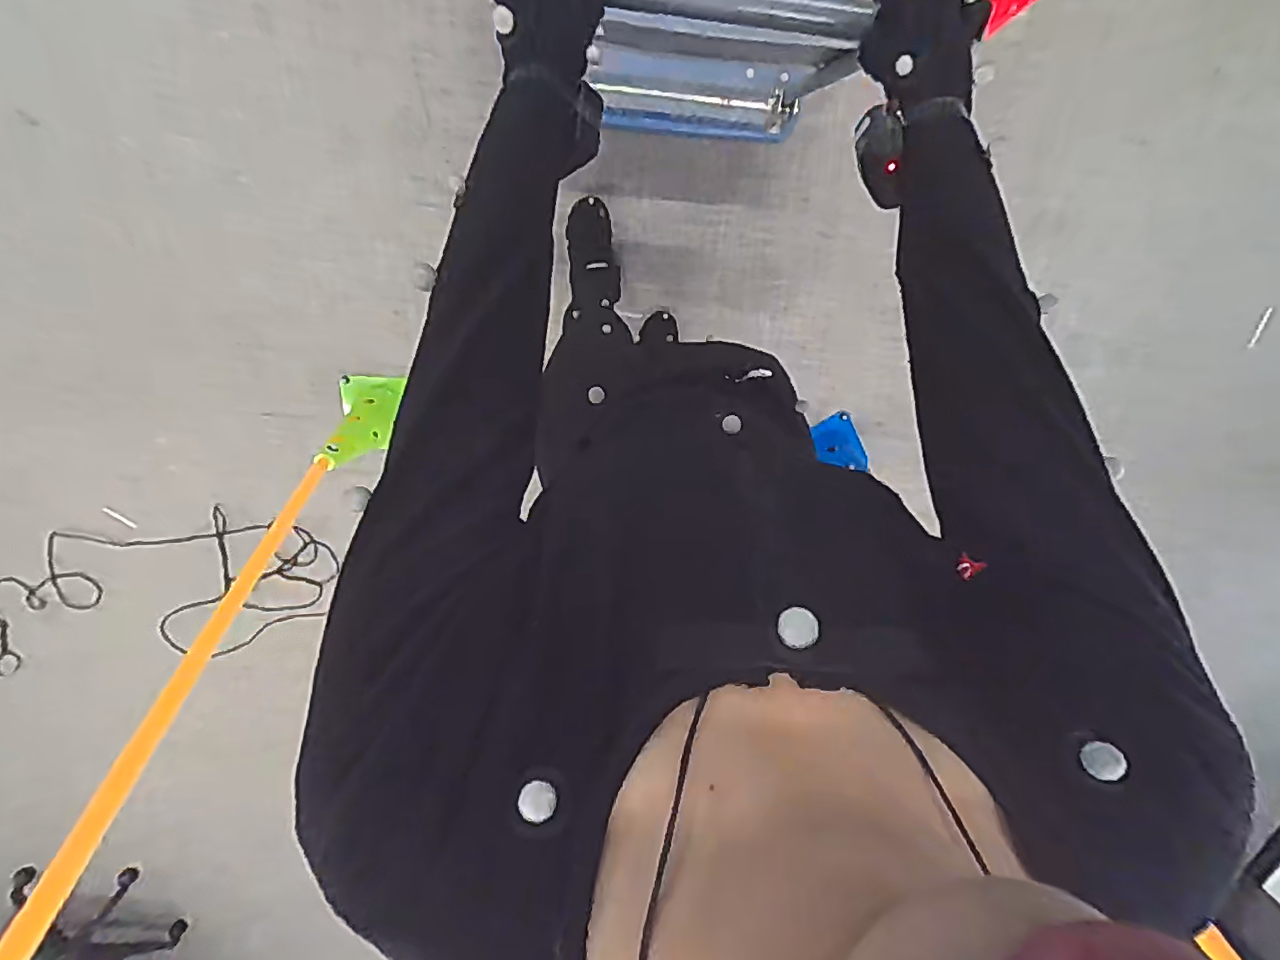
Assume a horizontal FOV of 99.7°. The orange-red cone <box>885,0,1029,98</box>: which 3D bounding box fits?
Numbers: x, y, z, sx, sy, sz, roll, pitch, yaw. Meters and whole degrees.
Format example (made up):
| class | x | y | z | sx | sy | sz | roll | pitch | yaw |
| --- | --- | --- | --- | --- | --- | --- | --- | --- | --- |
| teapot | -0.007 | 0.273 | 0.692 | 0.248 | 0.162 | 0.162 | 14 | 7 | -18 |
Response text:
| class | x | y | z | sx | sy | sz | roll | pitch | yaw |
| --- | --- | --- | --- | --- | --- | --- | --- | --- | --- |
| orange-red cone | 0.662 | -0.899 | 1.021 | 0.198 | 0.360 | 0.199 | 14 | 113 | -9 |
